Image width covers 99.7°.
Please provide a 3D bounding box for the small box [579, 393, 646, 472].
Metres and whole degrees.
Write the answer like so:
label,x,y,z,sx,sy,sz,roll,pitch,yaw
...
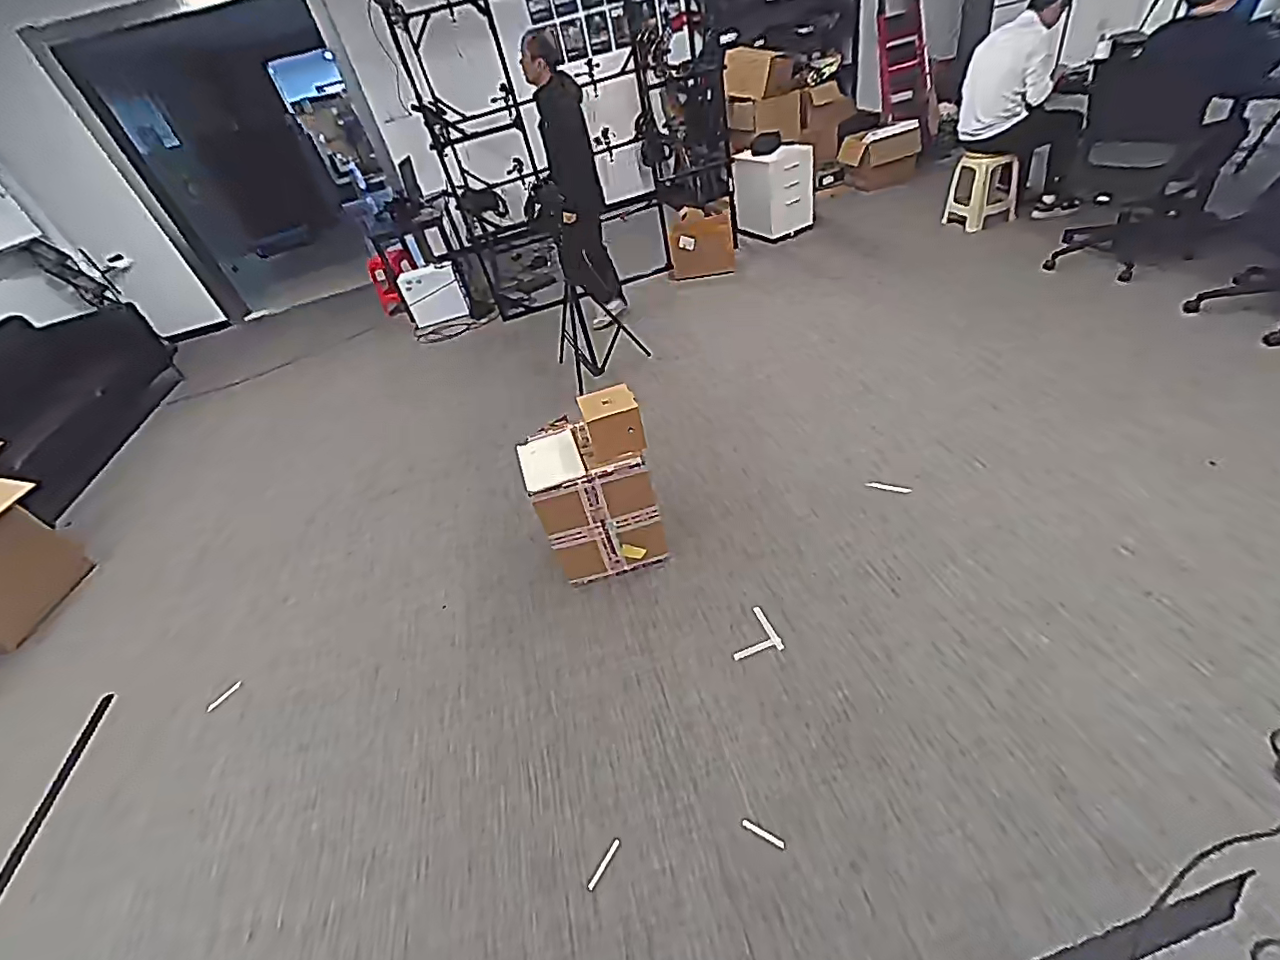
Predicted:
label,x,y,z,sx,sy,sz,roll,pitch,yaw
small box,-0.088,-0.156,1.793,0.179,0.176,0.168,-19,40,-6
